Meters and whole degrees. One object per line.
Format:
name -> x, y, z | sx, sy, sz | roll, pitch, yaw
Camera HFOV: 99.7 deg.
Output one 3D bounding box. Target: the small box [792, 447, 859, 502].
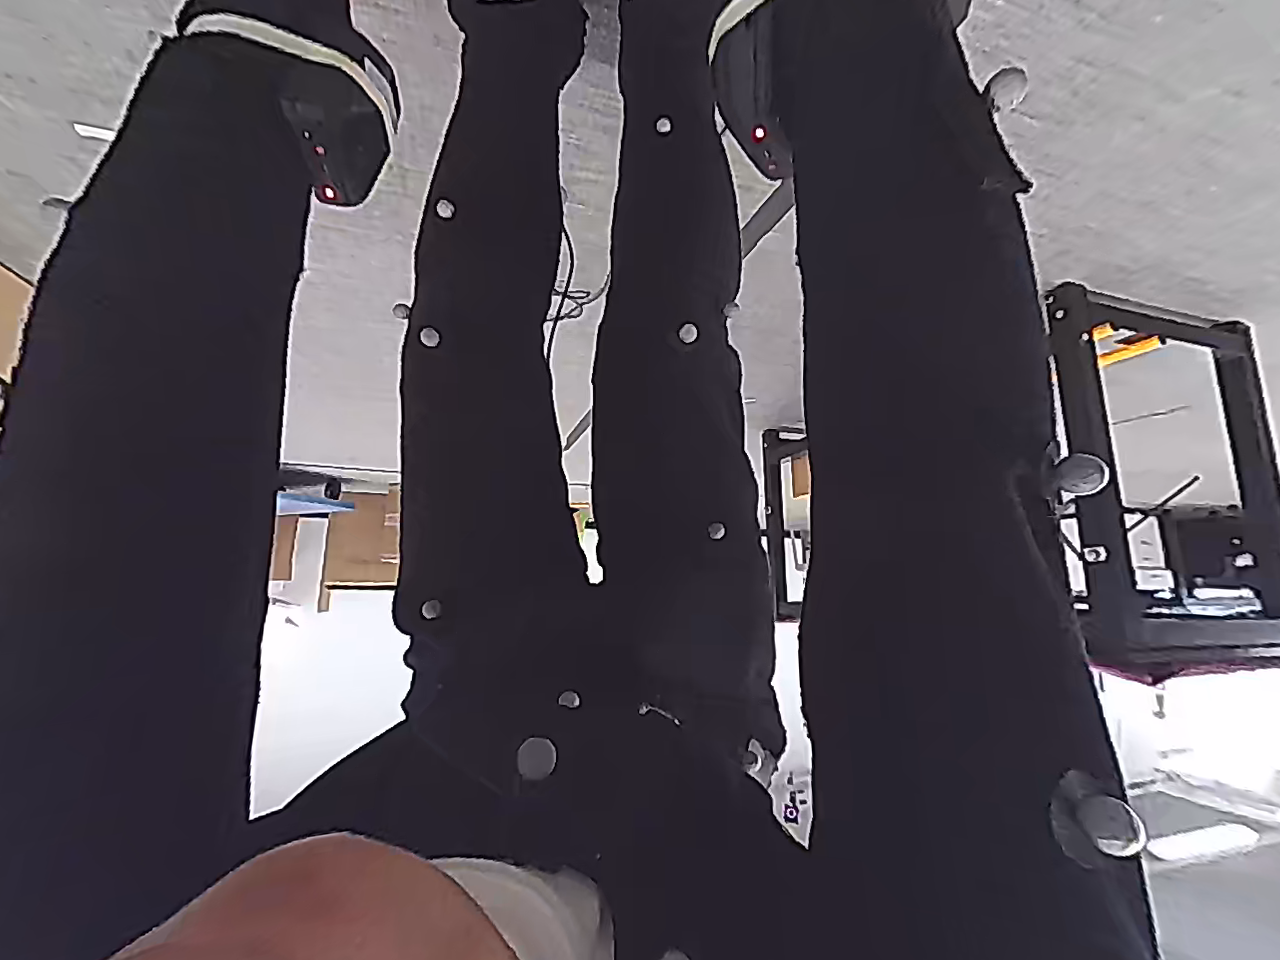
small box -> 0.686, -0.020, 2.013 | 0.179, 0.176, 0.168 | 4, 168, -19
